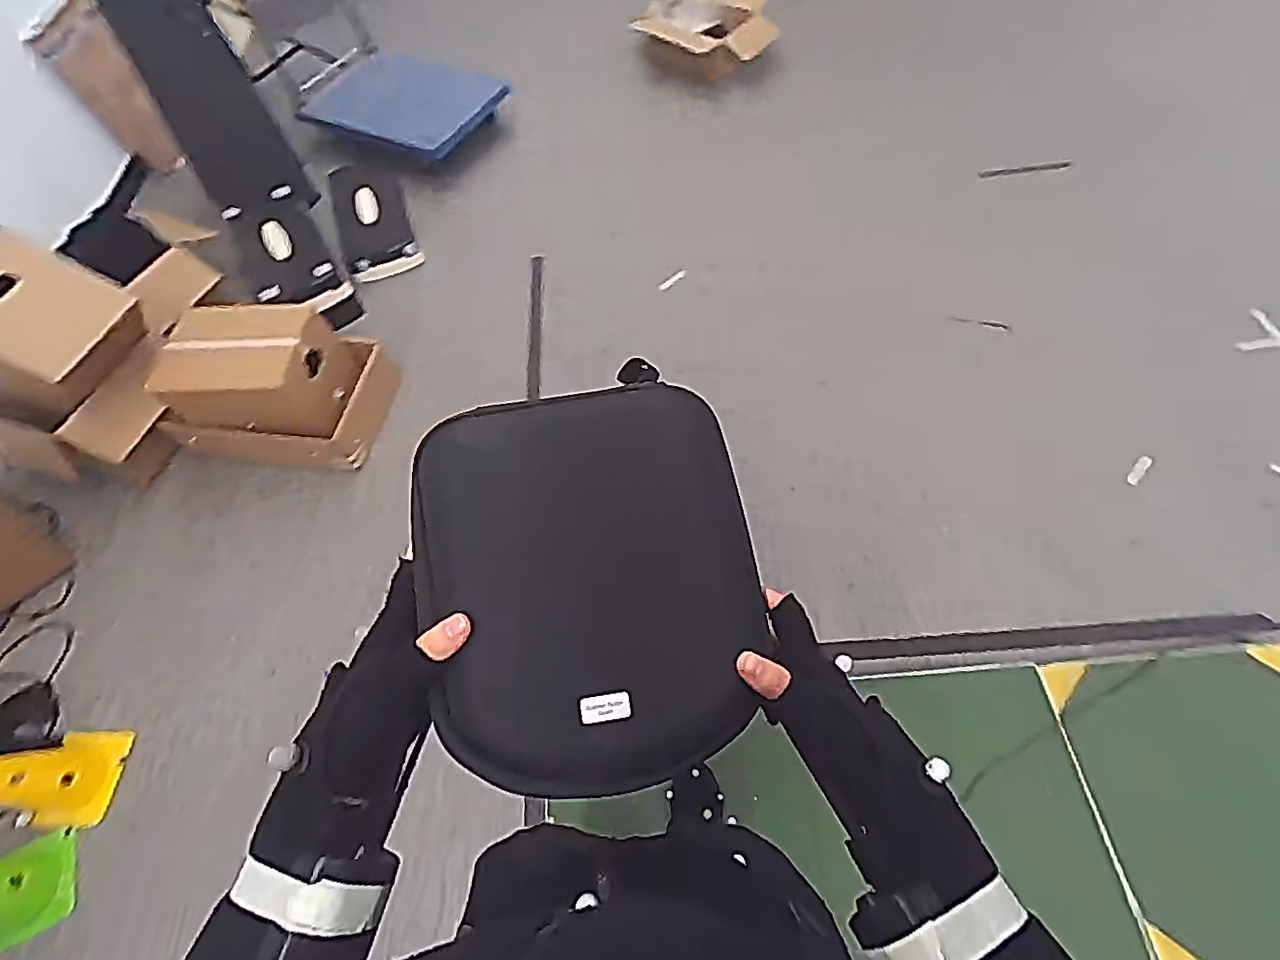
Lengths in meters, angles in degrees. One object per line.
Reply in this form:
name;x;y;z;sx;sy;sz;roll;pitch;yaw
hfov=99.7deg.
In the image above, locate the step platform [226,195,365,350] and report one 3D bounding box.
step platform;-1.340;-0.822;2.094;0.286;0.204;0.684;-32;65;-13
